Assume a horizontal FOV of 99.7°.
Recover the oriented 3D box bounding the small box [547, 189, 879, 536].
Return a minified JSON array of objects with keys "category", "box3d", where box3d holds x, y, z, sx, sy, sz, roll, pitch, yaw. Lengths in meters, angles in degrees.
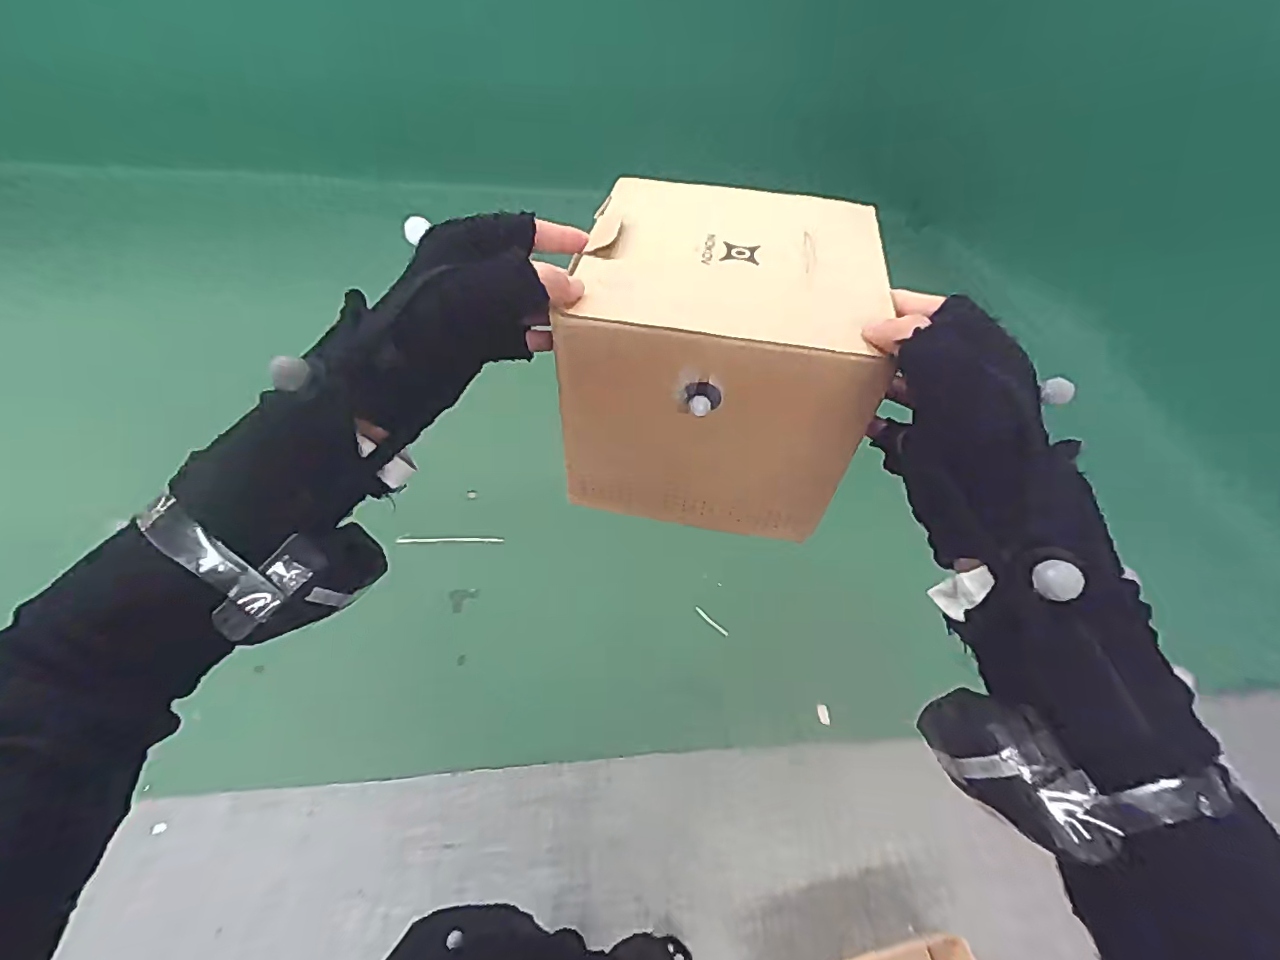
[{"category":"small box","box3d":[0.044,-0.079,0.387,0.179,0.176,0.168,10,51,3]}]
